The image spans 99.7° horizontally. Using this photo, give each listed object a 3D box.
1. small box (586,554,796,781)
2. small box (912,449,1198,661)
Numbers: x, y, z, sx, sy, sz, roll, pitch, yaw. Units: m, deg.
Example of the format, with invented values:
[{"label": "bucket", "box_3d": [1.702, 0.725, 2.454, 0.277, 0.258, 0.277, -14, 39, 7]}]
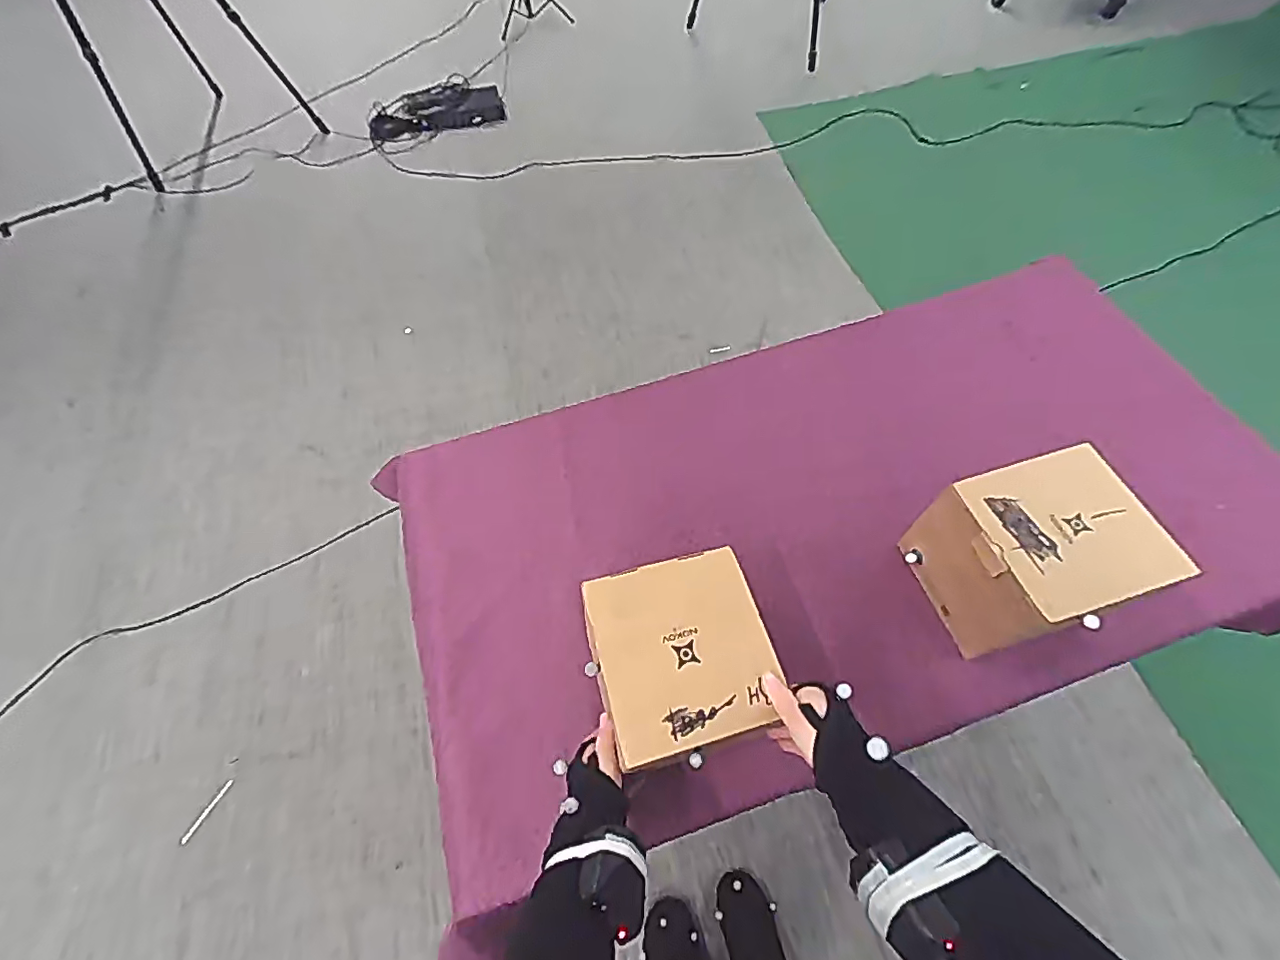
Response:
[{"label": "small box", "box_3d": [0.039, 0.206, 0.586, 0.168, 0.176, 0.179, -12, 60, -10]}, {"label": "small box", "box_3d": [0.449, 0.095, 0.630, 0.179, 0.176, 0.168, -16, 60, -6]}]
